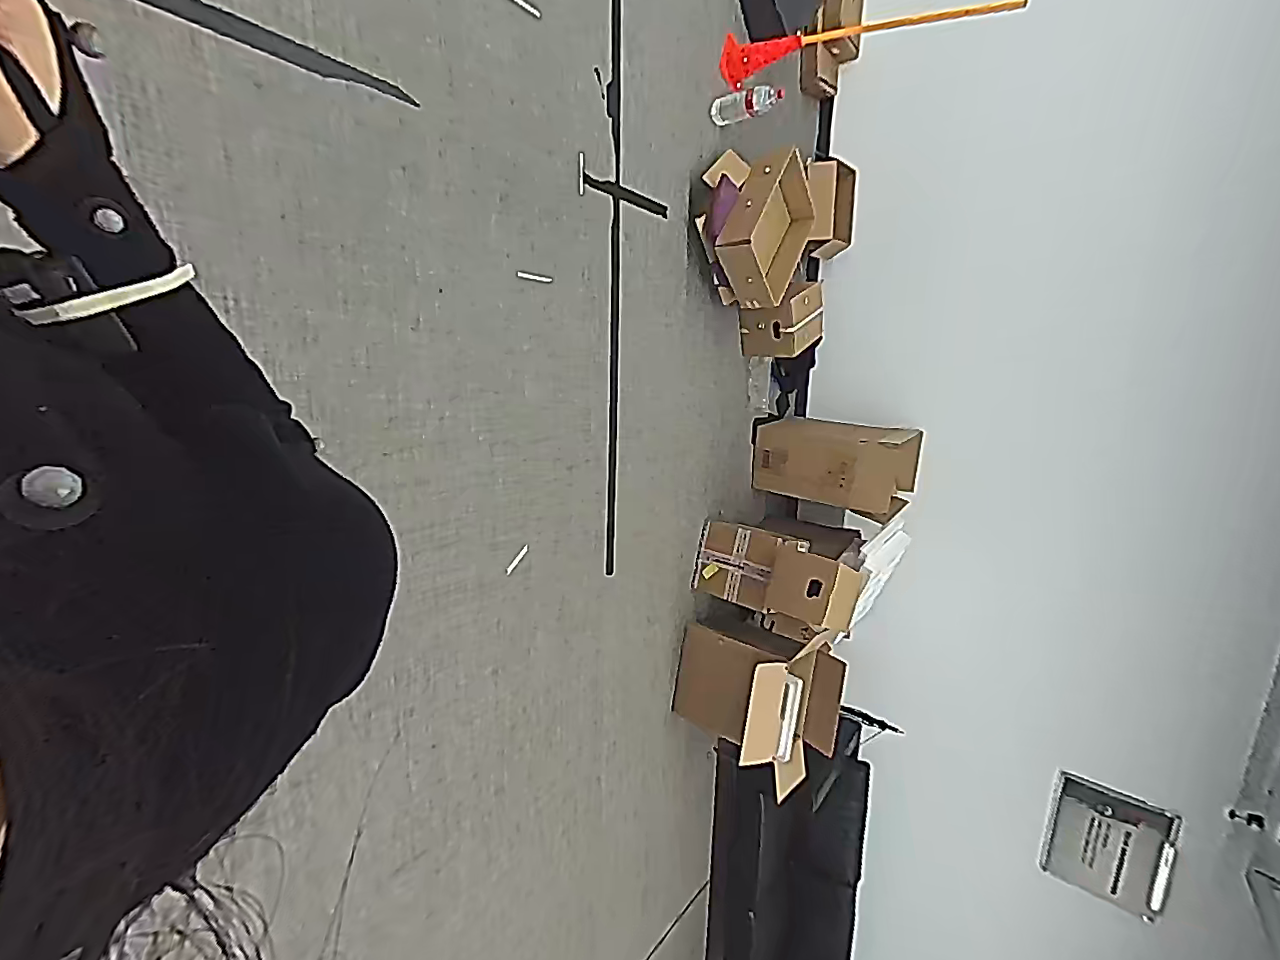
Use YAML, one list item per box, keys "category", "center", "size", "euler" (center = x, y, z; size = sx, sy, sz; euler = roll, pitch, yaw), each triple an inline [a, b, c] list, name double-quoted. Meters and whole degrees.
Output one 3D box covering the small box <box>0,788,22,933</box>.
- category: "small box"
  center: [-1.098, 0.621, 0.831]
  size: [0.179, 0.176, 0.168]
  euler: [-9, 106, -53]
